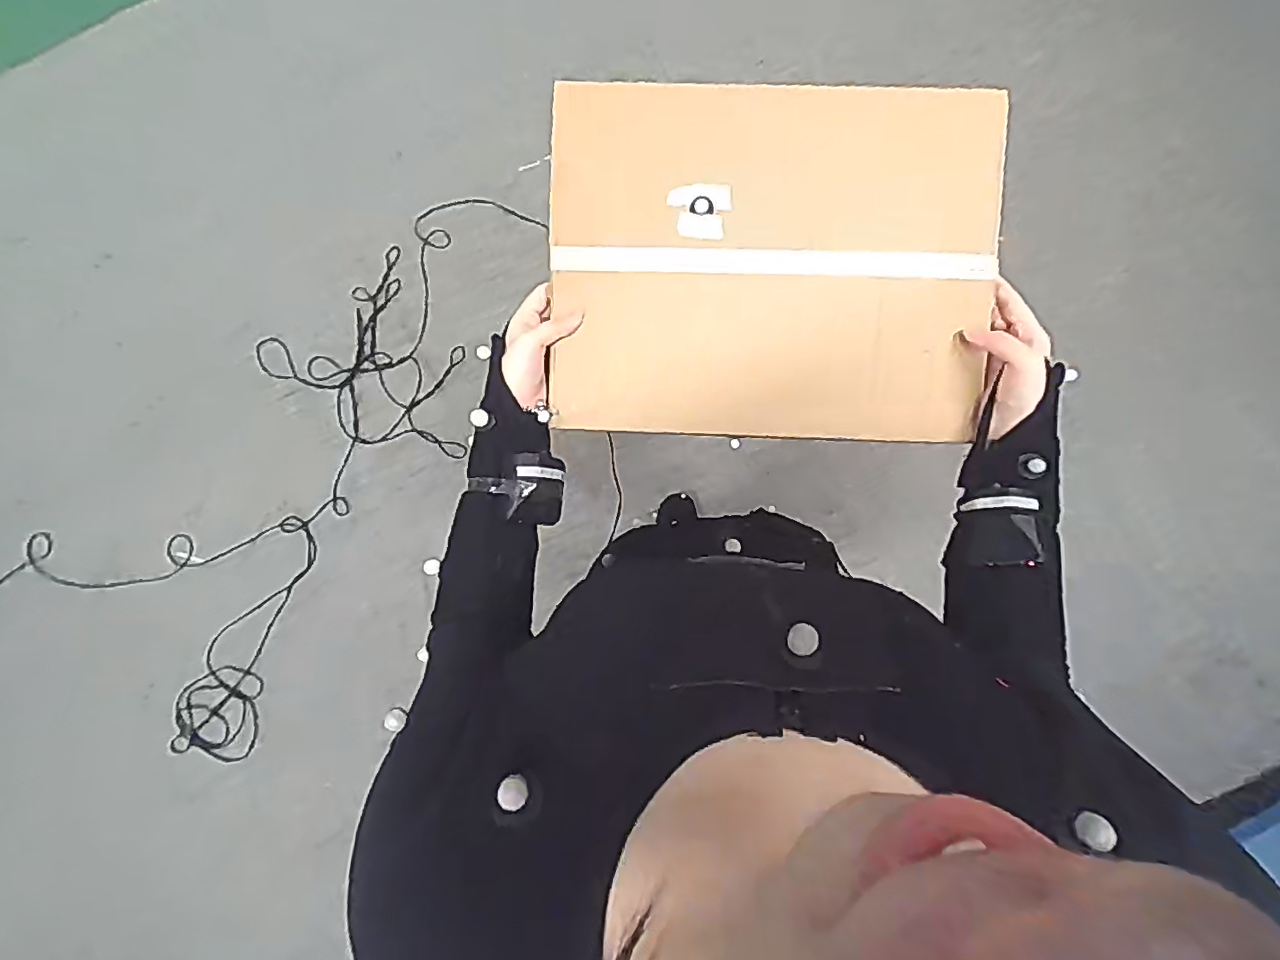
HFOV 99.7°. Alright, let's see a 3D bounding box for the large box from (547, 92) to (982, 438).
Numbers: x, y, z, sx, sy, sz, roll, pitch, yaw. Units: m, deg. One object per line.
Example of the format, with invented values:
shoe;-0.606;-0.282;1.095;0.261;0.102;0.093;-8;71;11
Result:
large box;0.120;-0.215;0.660;0.408;0.320;0.320;2;96;3
